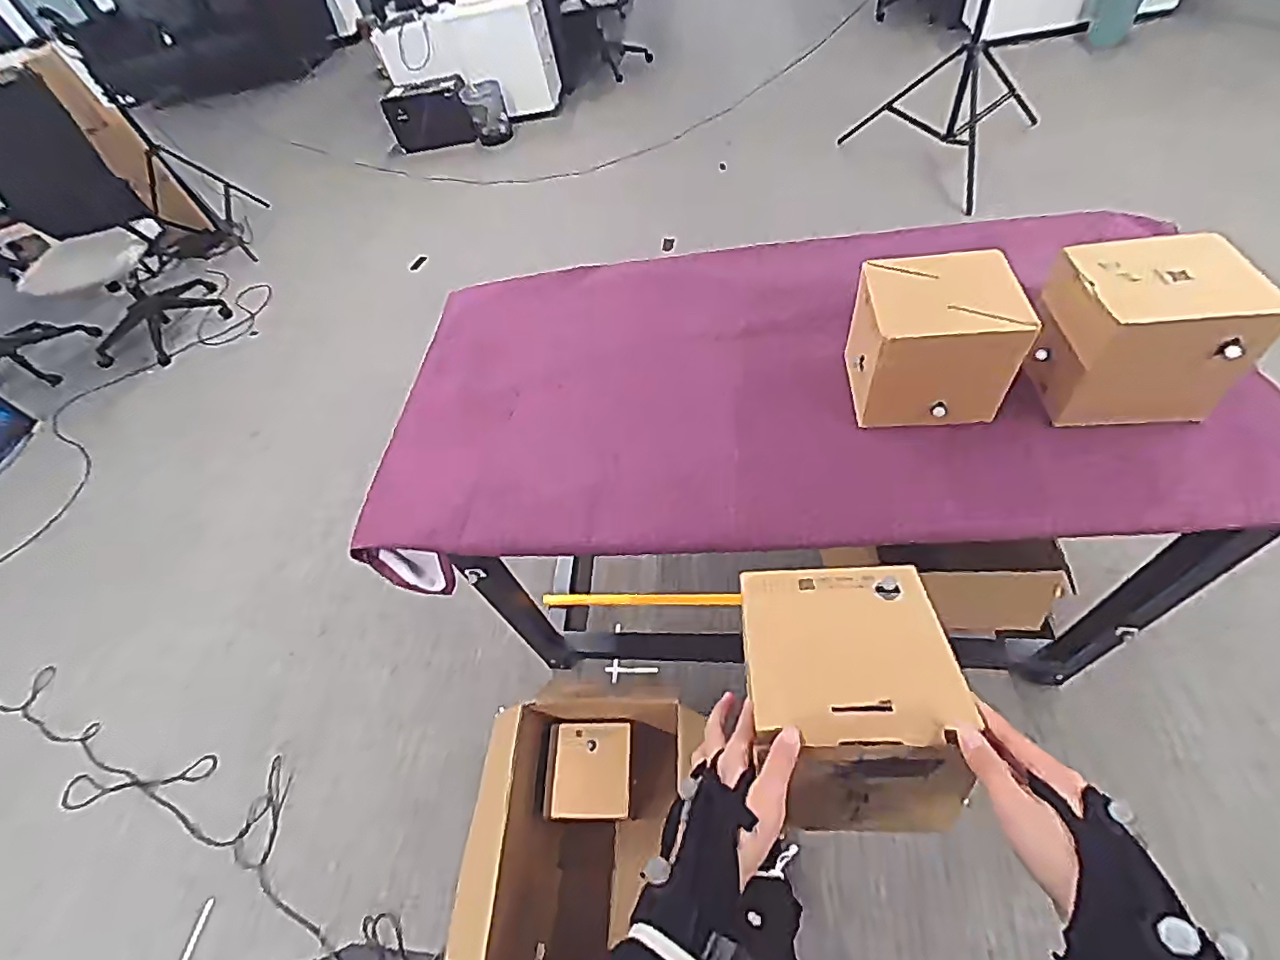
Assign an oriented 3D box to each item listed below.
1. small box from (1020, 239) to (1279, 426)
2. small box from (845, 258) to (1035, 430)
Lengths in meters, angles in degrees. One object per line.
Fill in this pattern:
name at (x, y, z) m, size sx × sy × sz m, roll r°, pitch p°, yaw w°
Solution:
small box at (0.639, -0.184, 0.702) m, size 0.179 × 0.176 × 0.168 m, roll -1°, pitch 51°, yaw 10°
small box at (0.398, -0.188, 0.752) m, size 0.179 × 0.176 × 0.168 m, roll -2°, pitch 52°, yaw 11°
